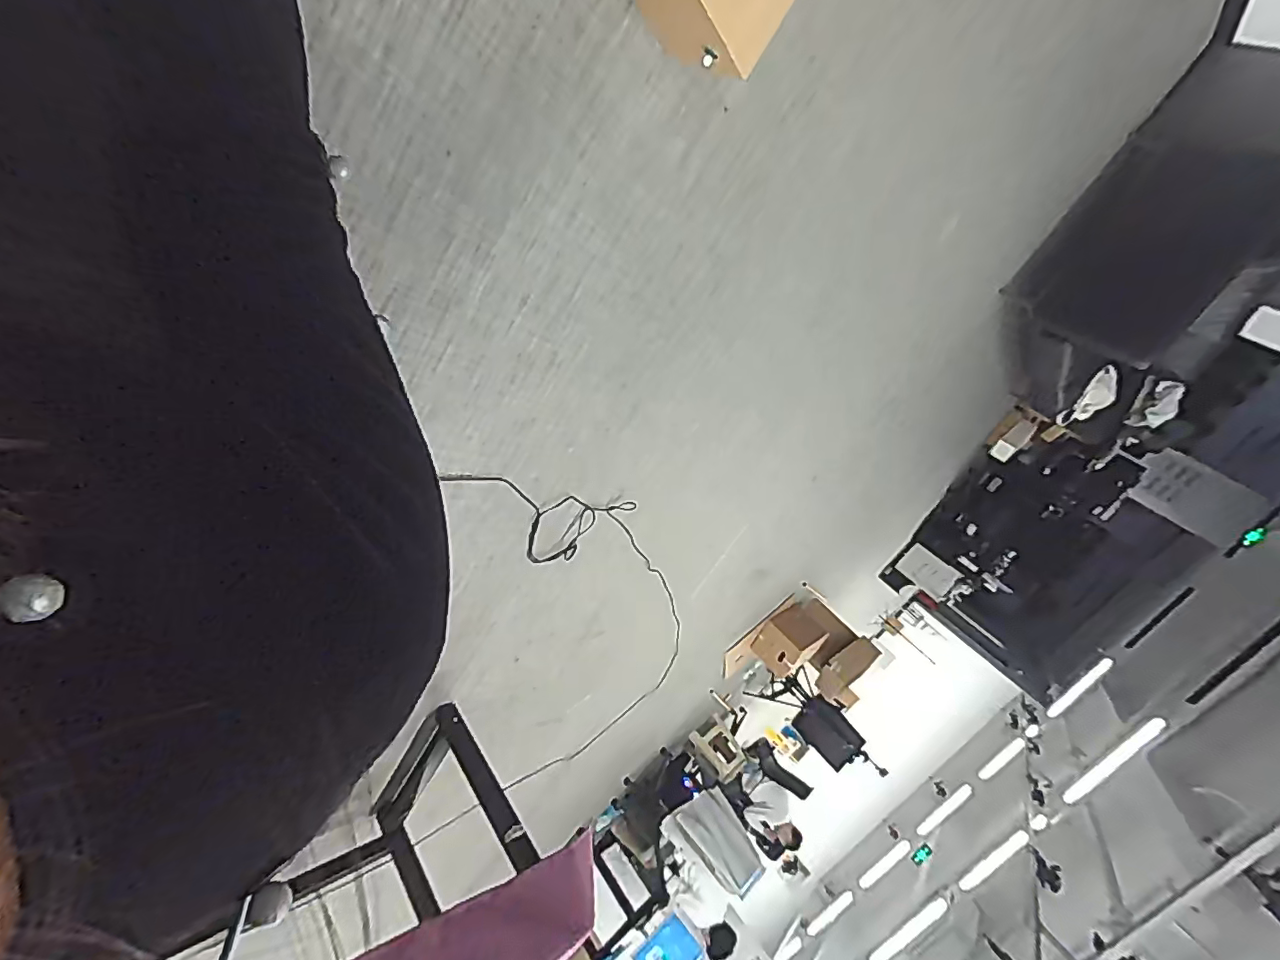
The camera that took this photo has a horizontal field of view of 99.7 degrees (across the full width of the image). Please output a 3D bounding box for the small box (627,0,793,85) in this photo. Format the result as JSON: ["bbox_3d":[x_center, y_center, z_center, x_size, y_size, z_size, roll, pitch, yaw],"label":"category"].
[{"bbox_3d":[0.095,-0.702,0.746,0.179,0.176,0.168,13,115,-55],"label":"small box"}]
